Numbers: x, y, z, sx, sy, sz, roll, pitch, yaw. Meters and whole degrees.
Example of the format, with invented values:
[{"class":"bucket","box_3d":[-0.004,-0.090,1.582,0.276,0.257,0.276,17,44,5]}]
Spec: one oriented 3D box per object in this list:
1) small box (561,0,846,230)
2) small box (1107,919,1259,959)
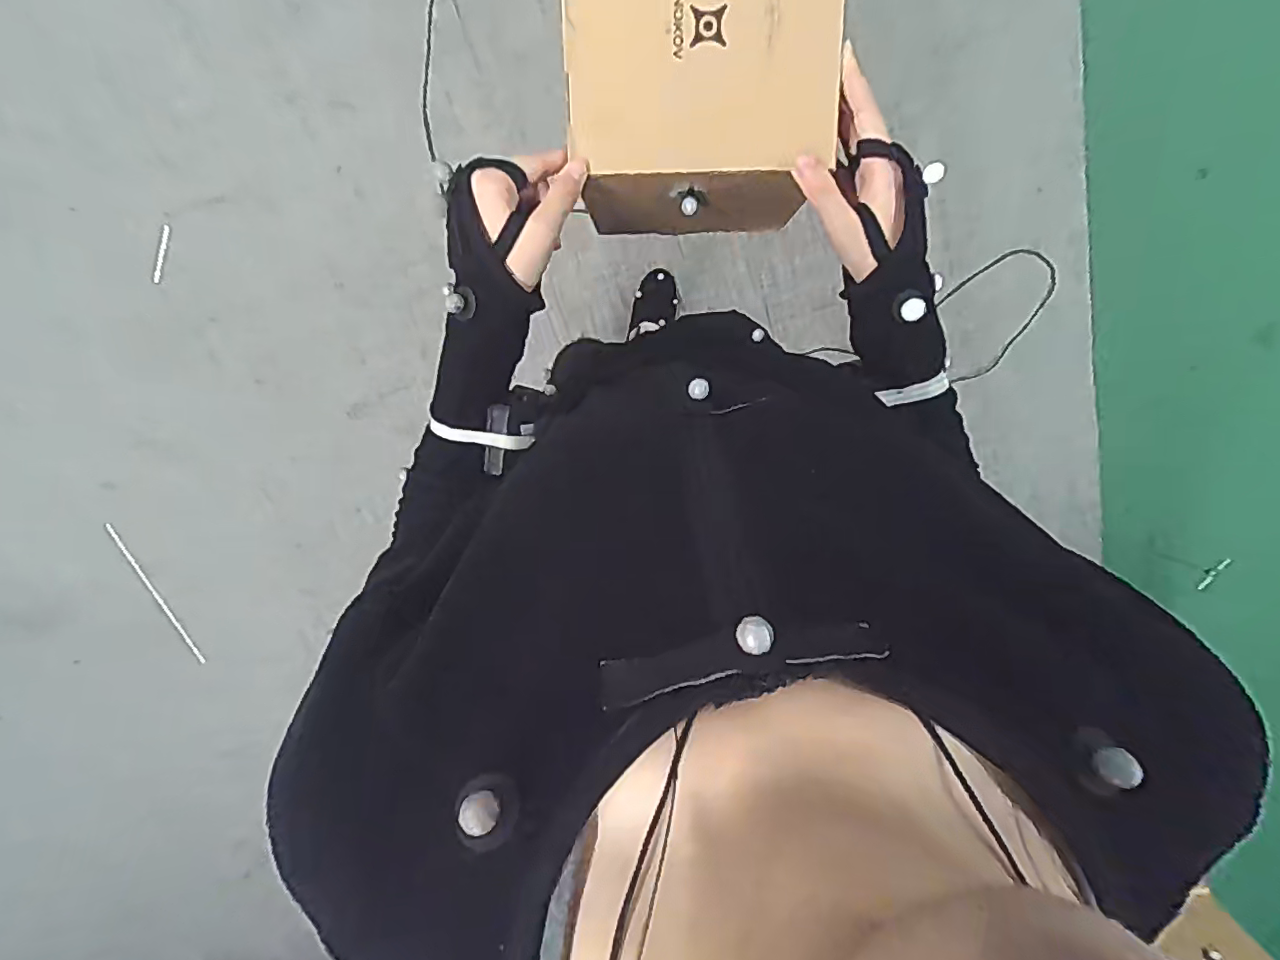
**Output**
[{"class":"small box","box_3d":[0.040,-0.296,0.408,0.179,0.176,0.168,1,102,1]},{"class":"small box","box_3d":[0.810,0.769,0.771,0.168,0.176,0.179,-9,107,0]}]
